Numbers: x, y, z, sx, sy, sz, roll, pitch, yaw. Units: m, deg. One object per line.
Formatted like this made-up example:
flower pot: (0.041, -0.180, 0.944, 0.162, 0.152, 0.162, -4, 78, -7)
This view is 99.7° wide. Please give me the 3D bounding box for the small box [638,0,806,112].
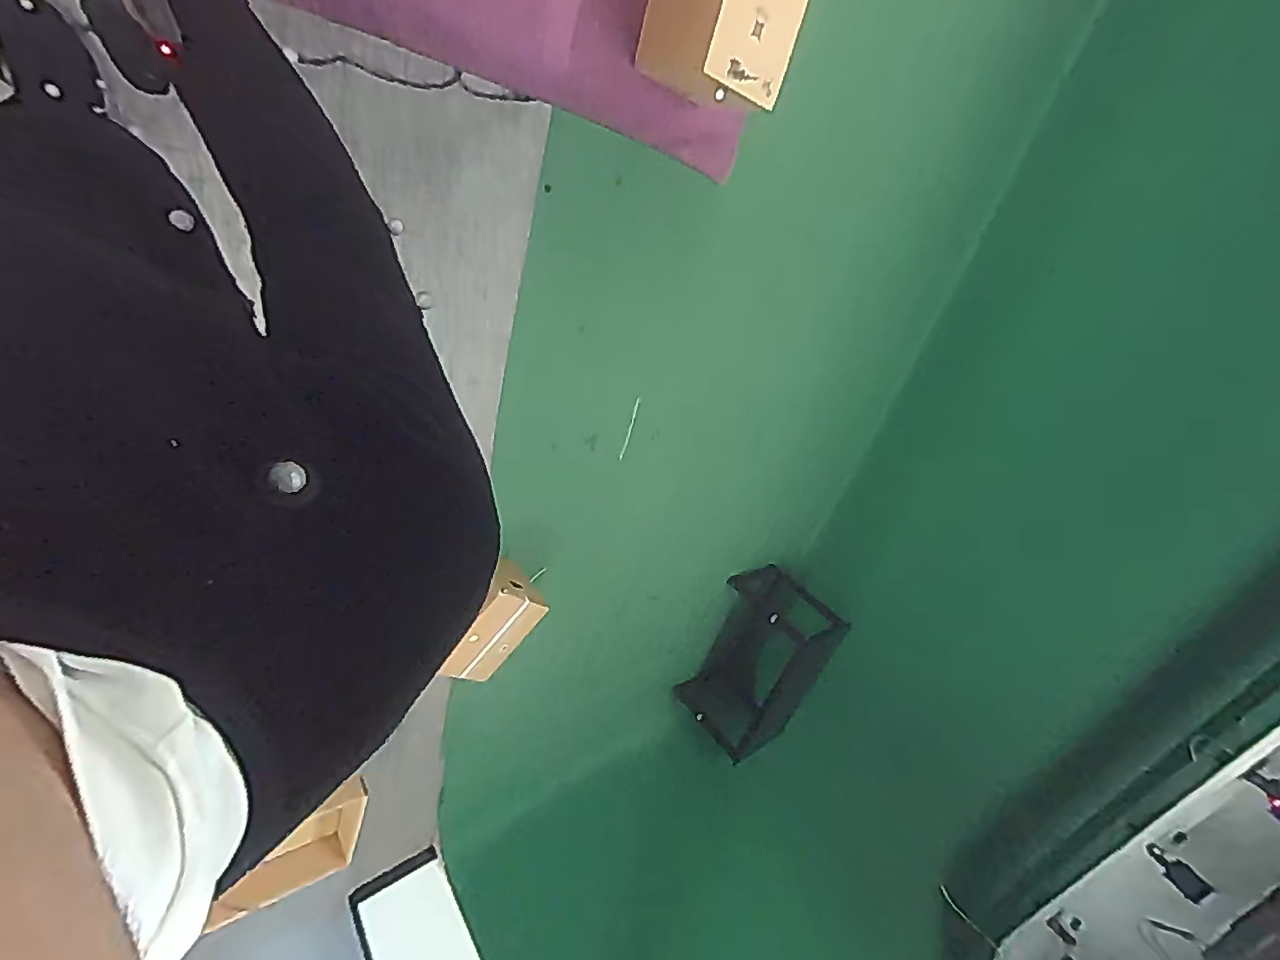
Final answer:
small box: (0.120, -0.694, 0.825, 0.168, 0.176, 0.179, -7, 124, -41)
